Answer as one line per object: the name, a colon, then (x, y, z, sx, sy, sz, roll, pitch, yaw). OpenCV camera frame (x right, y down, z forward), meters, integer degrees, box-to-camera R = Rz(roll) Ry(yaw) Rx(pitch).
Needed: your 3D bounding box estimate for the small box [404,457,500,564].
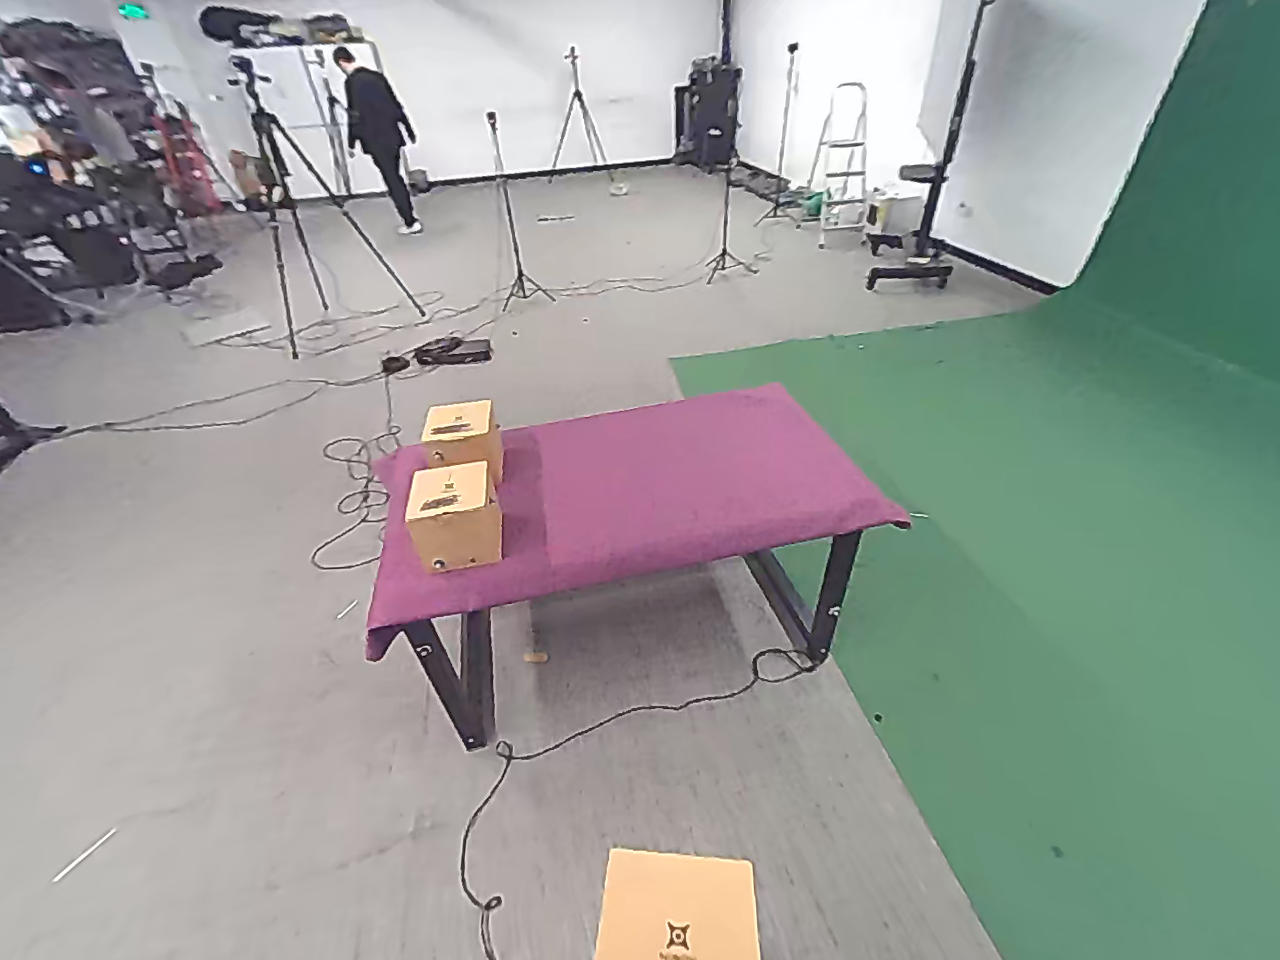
small box: (-0.415, 0.074, 1.226, 0.168, 0.176, 0.179, -9, 38, -8)

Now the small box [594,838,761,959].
small box: (0.037, 0.531, 0.579, 0.168, 0.176, 0.179, 3, 24, 4)
